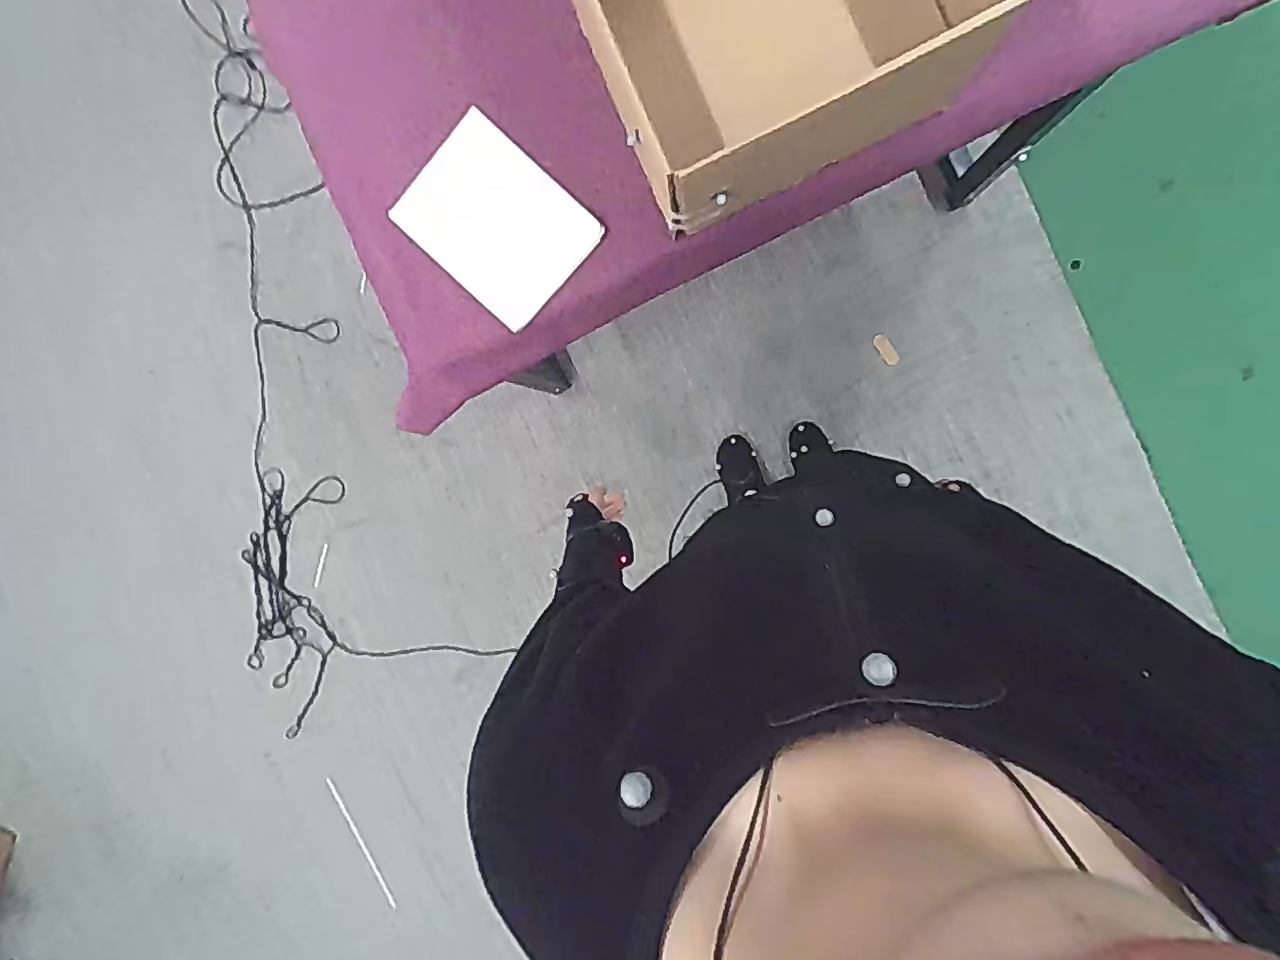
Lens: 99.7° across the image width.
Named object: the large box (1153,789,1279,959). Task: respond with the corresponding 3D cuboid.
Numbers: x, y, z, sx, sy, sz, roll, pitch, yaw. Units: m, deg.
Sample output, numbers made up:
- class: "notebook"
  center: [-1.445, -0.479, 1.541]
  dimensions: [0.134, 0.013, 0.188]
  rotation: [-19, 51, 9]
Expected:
- class: "large box"
  center: [1.575, 1.030, 1.255]
  dimensions: [0.408, 0.320, 0.320]
  rotation: [-39, 90, 7]
